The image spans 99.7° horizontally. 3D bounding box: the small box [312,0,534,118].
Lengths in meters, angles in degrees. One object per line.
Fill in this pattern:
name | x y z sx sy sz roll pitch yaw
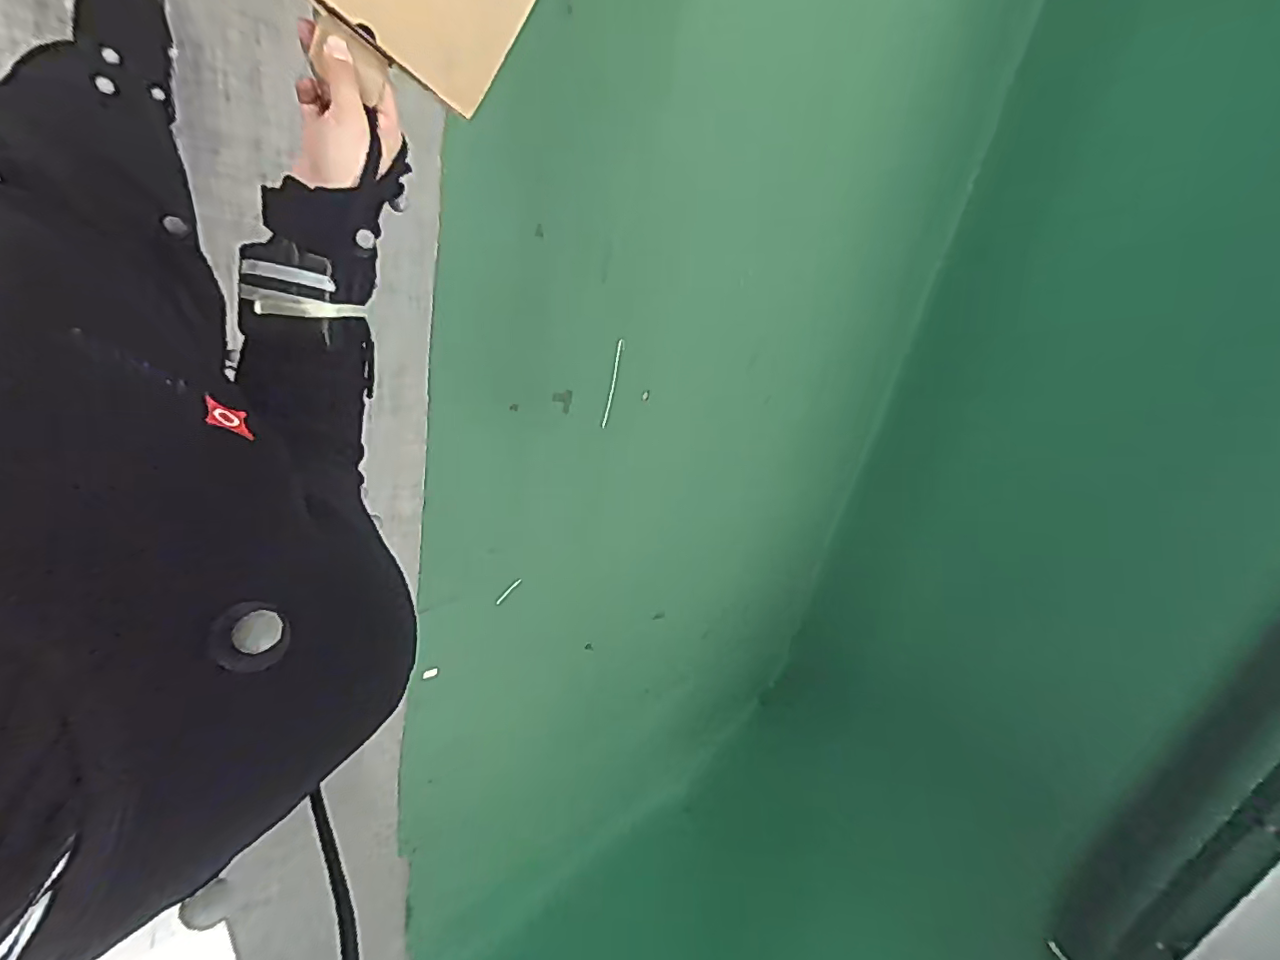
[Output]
small box | -0.174 -0.406 0.374 0.179 0.176 0.168 -53 146 16
